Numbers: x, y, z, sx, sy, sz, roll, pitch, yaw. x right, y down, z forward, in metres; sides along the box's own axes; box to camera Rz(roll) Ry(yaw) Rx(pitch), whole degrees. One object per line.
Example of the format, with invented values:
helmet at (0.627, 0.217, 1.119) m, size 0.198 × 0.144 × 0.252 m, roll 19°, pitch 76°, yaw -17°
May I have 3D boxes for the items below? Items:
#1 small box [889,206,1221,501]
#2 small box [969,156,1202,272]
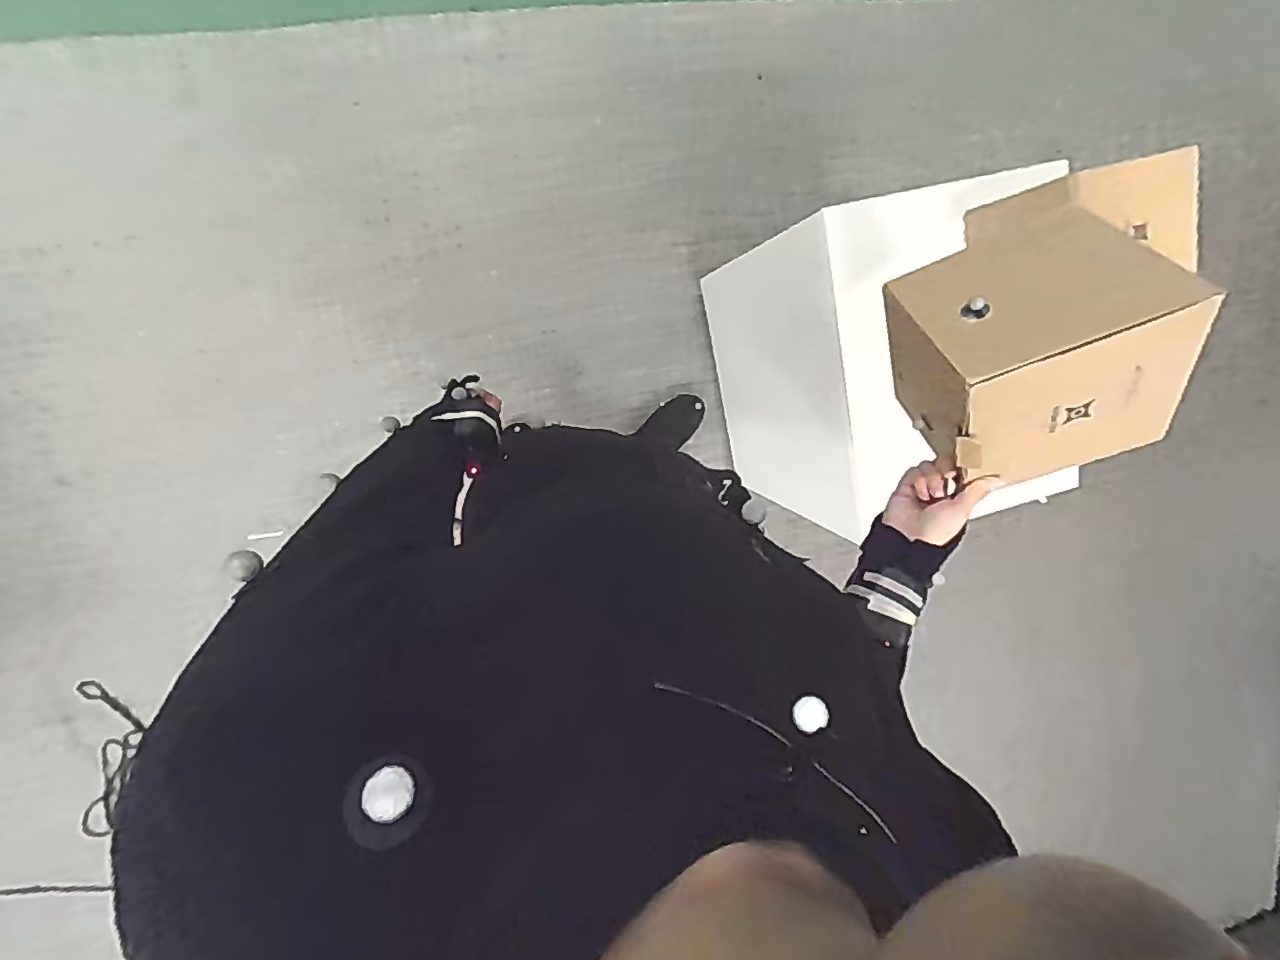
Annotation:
small box at (0.352, -0.115, 0.506) m, size 0.179 × 0.176 × 0.168 m, roll -23°, pitch 136°, yaw 14°
small box at (0.583, -0.303, 0.724) m, size 0.179 × 0.176 × 0.168 m, roll -15°, pitch 104°, yaw -7°
